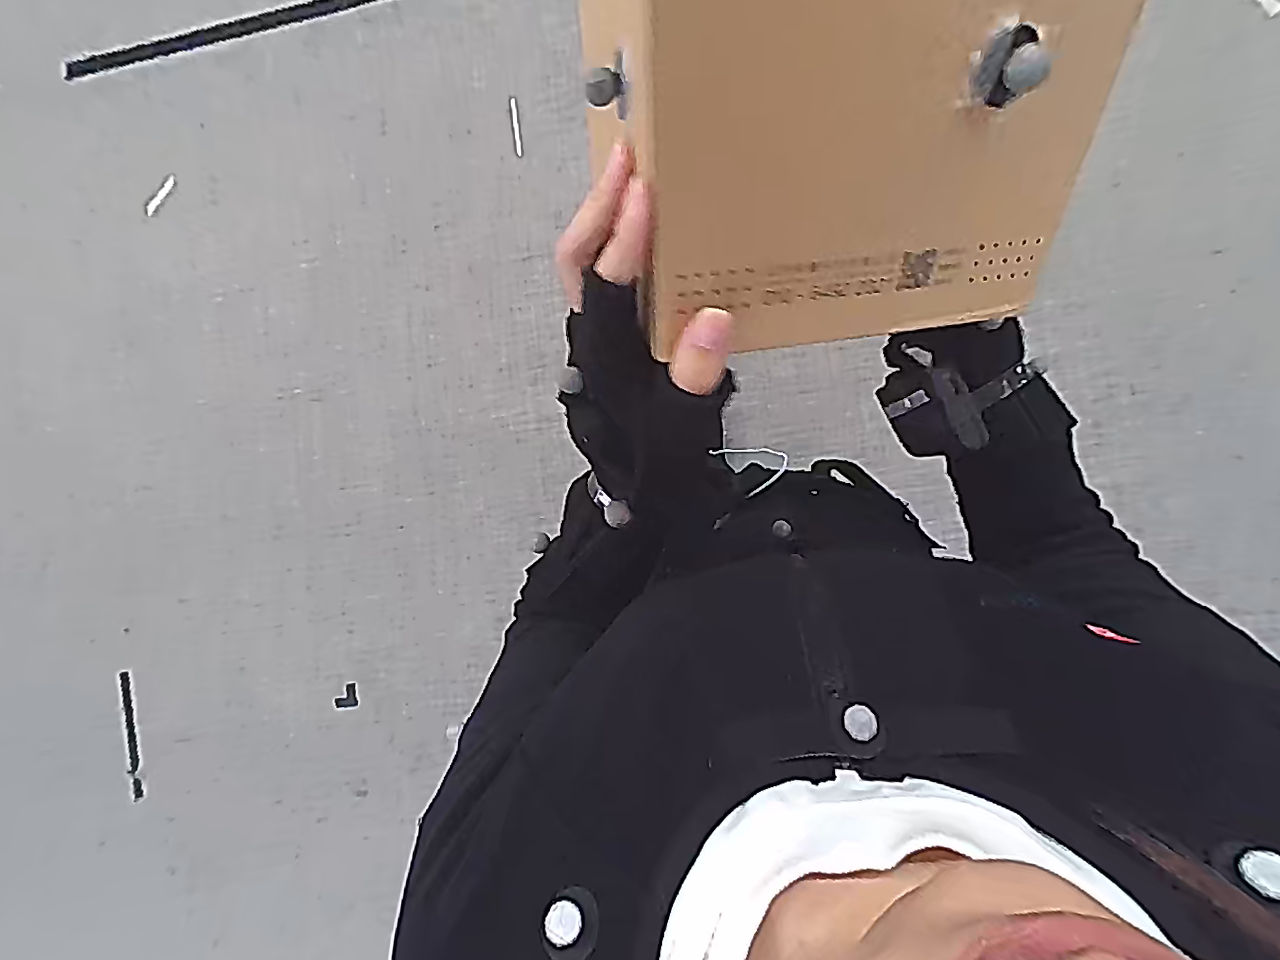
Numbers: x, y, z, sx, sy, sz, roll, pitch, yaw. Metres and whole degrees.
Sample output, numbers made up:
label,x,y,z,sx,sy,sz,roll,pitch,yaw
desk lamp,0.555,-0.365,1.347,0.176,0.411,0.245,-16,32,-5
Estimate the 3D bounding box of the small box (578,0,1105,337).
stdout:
label,x,y,z,sx,sy,sz,roll,pitch,yaw
small box,0.068,-0.172,0.249,0.168,0.179,0.176,-9,127,-10
